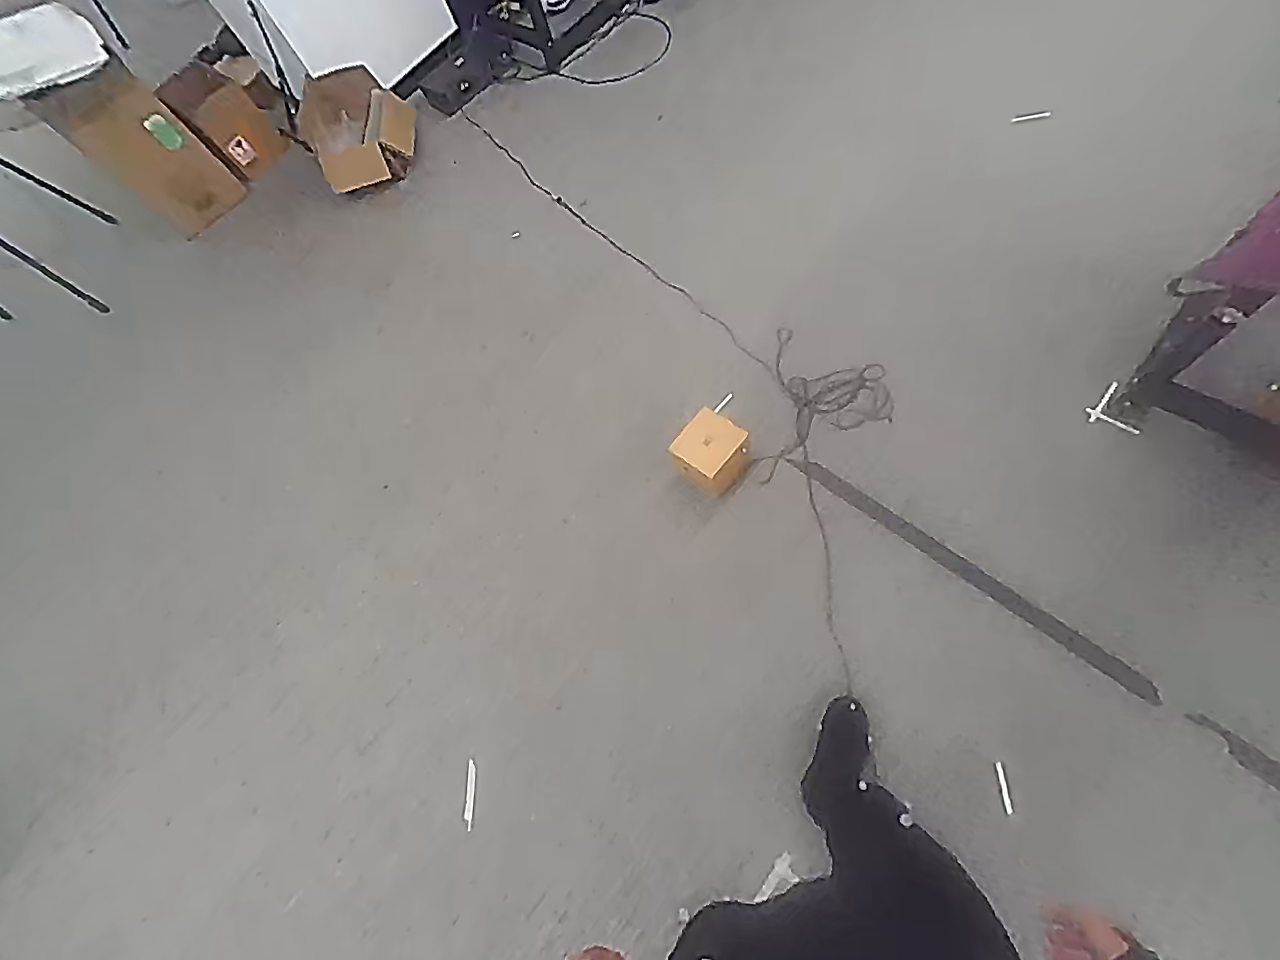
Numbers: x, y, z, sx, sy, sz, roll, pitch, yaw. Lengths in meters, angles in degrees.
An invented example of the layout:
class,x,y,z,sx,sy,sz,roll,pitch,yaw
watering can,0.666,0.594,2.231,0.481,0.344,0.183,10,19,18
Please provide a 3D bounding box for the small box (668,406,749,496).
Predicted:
class,x,y,z,sx,sy,sz,roll,pitch,yaw
small box,0.210,-0.080,1.600,0.168,0.176,0.179,36,79,24
